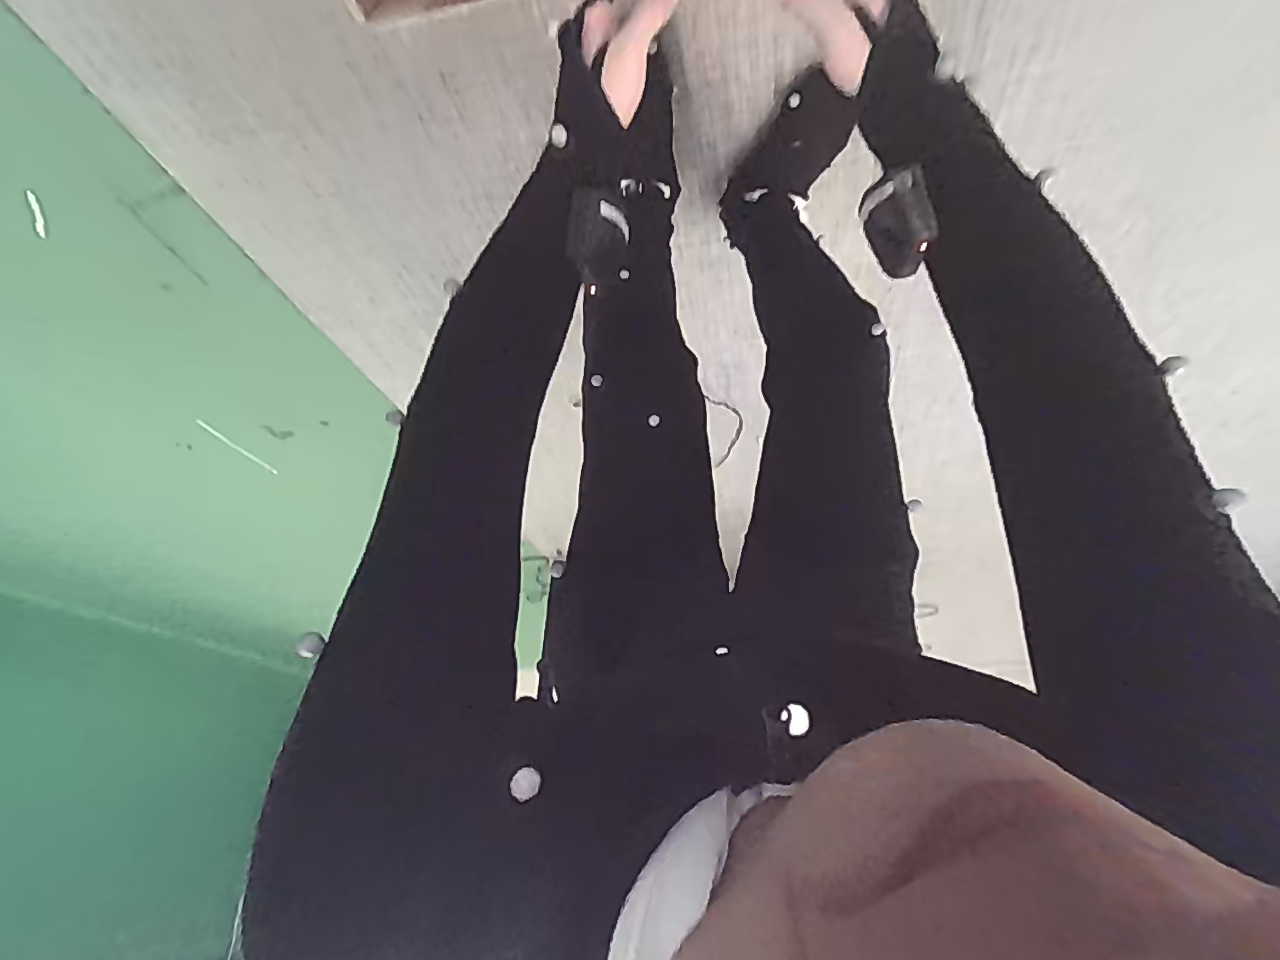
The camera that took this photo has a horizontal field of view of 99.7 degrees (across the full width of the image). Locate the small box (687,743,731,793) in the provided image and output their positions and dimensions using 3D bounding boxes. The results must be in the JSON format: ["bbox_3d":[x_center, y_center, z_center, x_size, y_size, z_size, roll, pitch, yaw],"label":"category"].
[{"bbox_3d":[0.291,1.212,2.271,0.168,0.176,0.179,-6,148,12],"label":"small box"}]

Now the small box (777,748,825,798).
[{"bbox_3d":[0.655,1.200,2.216,0.168,0.176,0.179,-3,148,11],"label":"small box"}]
